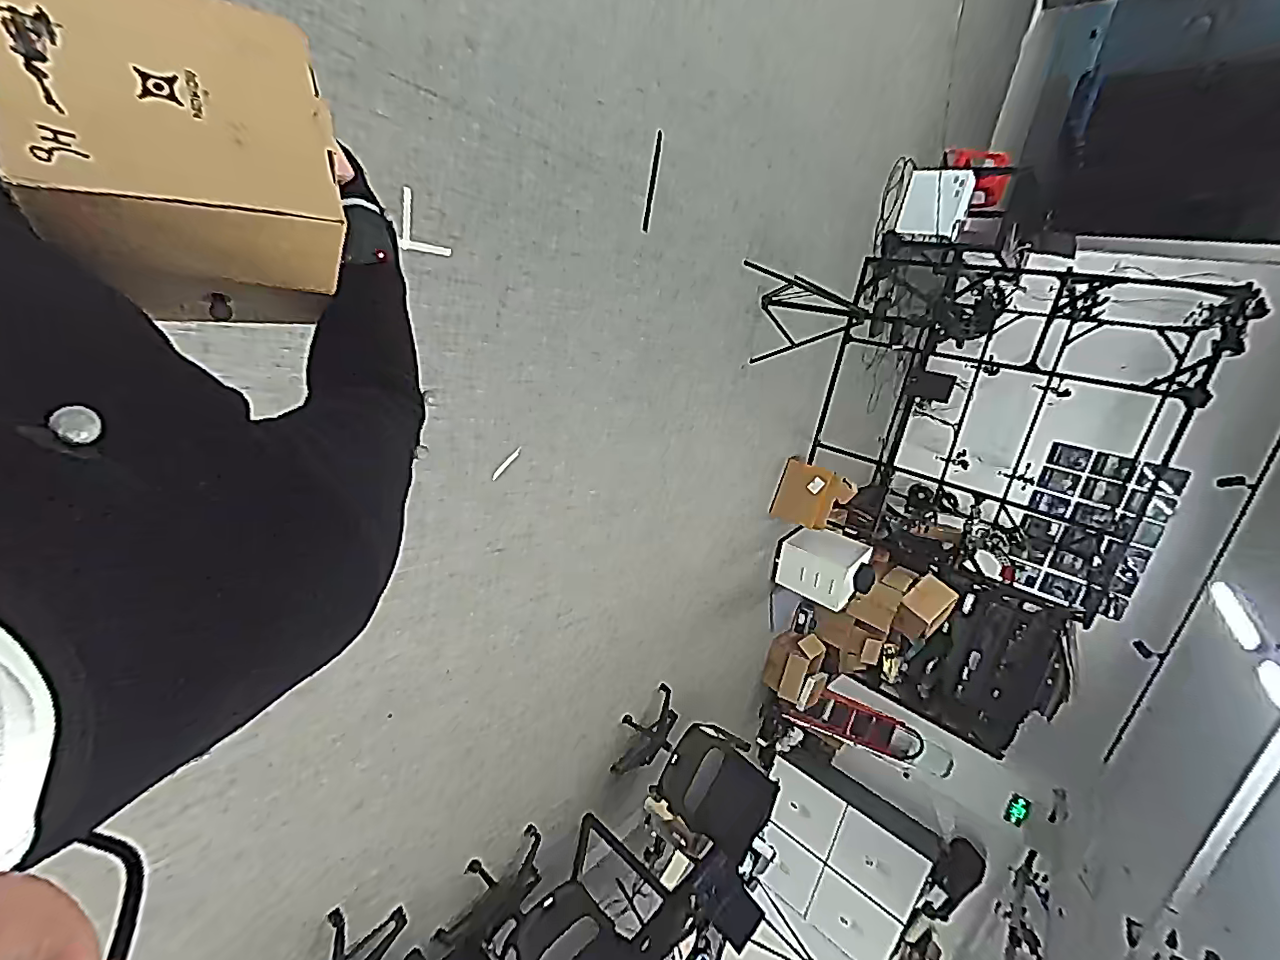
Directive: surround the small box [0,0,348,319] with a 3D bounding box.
[{"bbox_3d":[-0.358,-0.244,0.440,0.179,0.176,0.168,-10,83,-36],"label":"small box"}]
